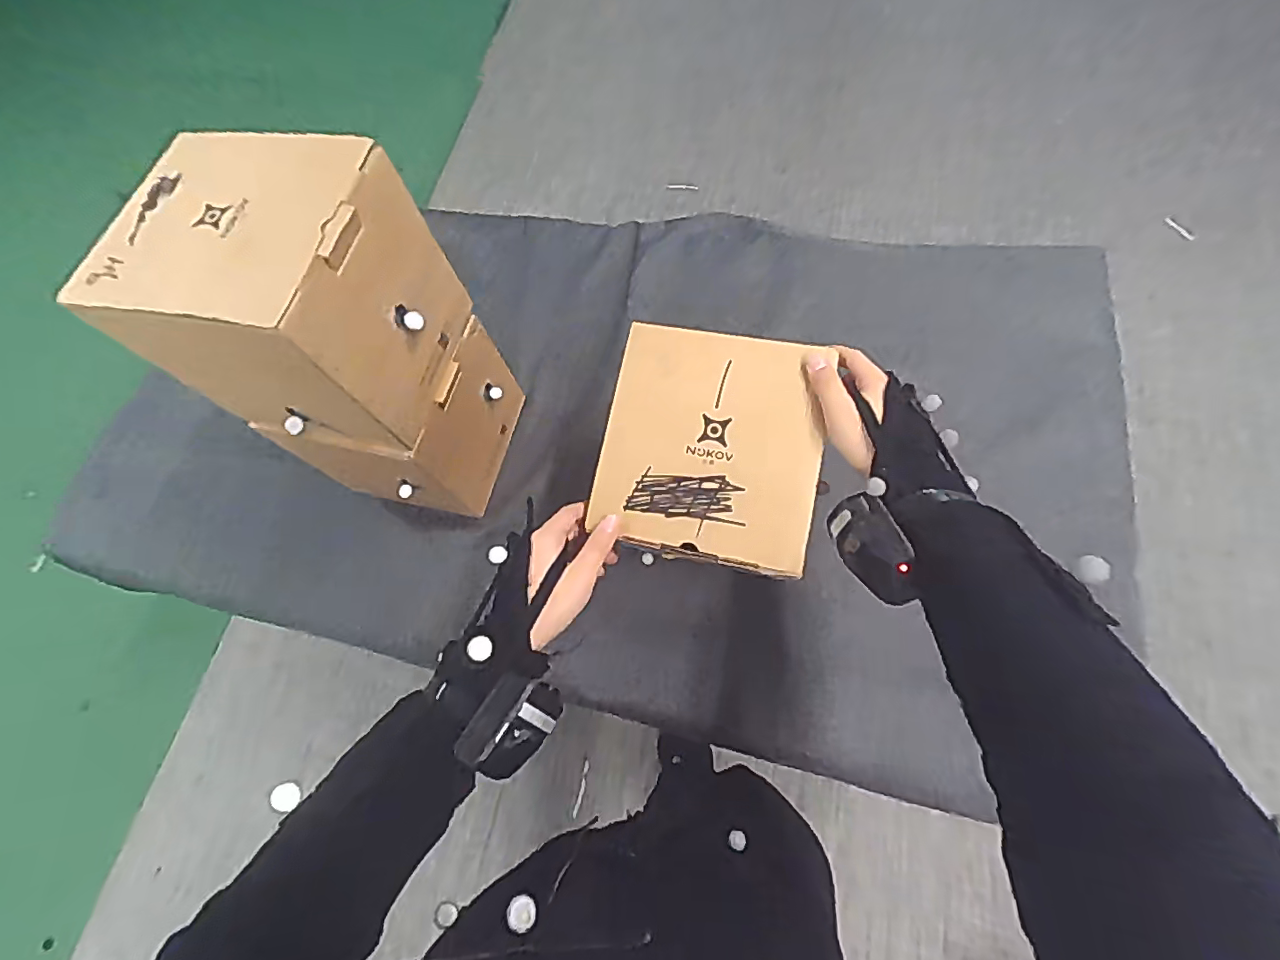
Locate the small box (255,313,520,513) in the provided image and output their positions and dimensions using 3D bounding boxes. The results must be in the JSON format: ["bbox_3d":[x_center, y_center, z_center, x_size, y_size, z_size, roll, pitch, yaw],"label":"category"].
[{"bbox_3d":[-0.253,-0.074,0.594,0.179,0.176,0.168,10,68,11],"label":"small box"}]

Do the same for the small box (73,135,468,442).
[{"bbox_3d":[-0.270,-0.145,0.447,0.179,0.176,0.168,9,68,10],"label":"small box"}]
